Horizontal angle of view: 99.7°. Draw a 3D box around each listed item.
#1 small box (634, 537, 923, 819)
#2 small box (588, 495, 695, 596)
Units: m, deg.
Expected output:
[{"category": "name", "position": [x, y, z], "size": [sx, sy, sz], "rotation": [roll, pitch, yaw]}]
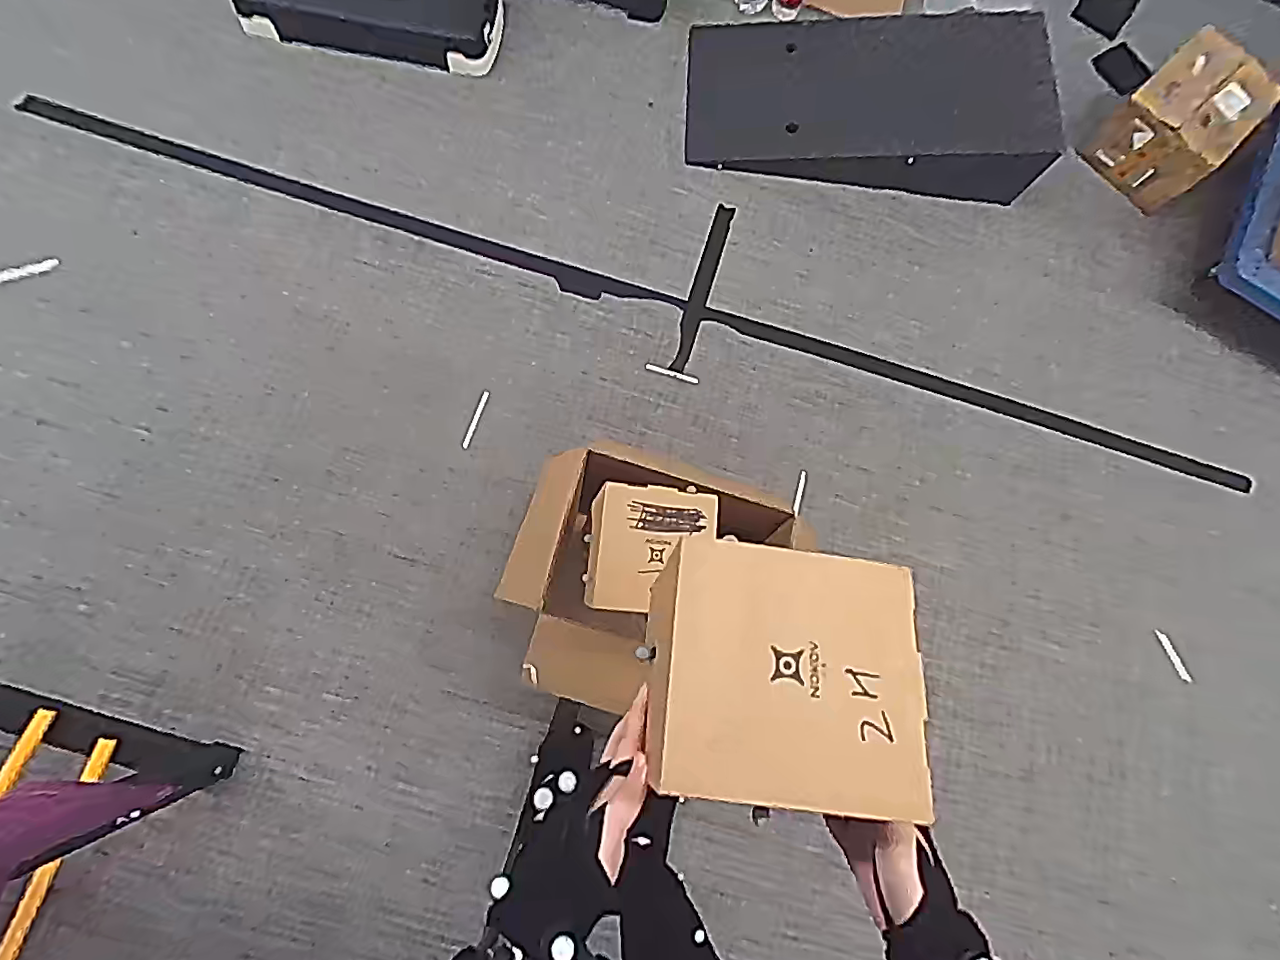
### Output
[{"category": "small box", "position": [0.093, 0.159, 0.440], "size": [0.179, 0.176, 0.168], "rotation": [8, 66, -3]}, {"category": "small box", "position": [-0.003, 0.124, 0.988], "size": [0.179, 0.176, 0.168], "rotation": [-3, 79, -11]}]
